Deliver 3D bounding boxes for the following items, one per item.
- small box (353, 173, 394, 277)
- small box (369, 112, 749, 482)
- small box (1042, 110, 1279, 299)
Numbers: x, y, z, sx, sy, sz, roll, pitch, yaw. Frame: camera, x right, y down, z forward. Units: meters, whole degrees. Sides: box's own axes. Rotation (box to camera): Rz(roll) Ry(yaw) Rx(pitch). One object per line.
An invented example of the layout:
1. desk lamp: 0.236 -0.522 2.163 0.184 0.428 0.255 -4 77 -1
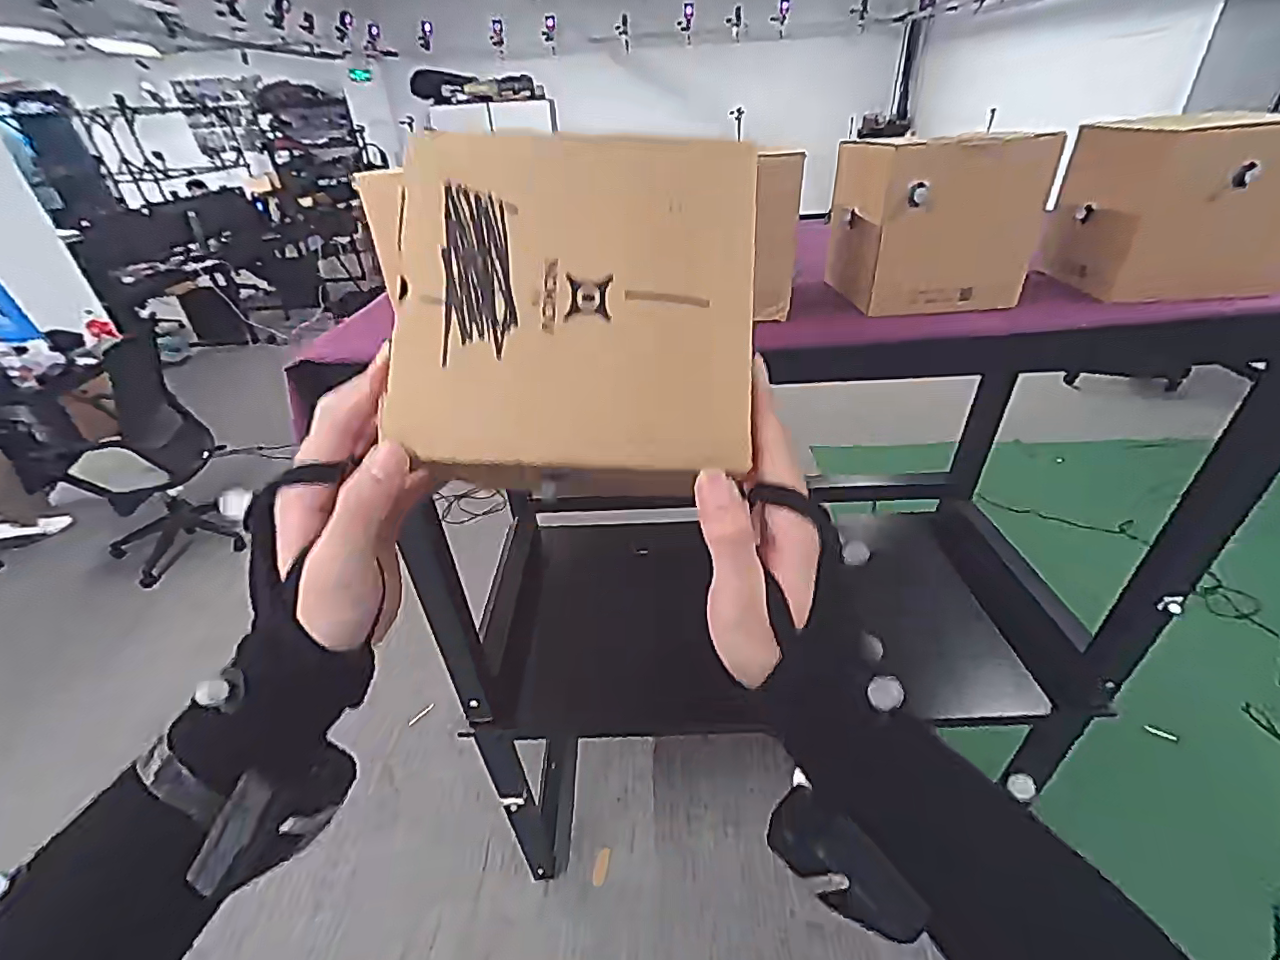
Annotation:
1. small box: -0.198 -0.277 0.649 0.168 0.176 0.179 0 32 5
2. small box: -0.034 -0.089 0.336 0.179 0.168 0.176 2 -5 2
3. small box: 0.601 -0.312 0.615 0.179 0.176 0.168 -1 35 6
